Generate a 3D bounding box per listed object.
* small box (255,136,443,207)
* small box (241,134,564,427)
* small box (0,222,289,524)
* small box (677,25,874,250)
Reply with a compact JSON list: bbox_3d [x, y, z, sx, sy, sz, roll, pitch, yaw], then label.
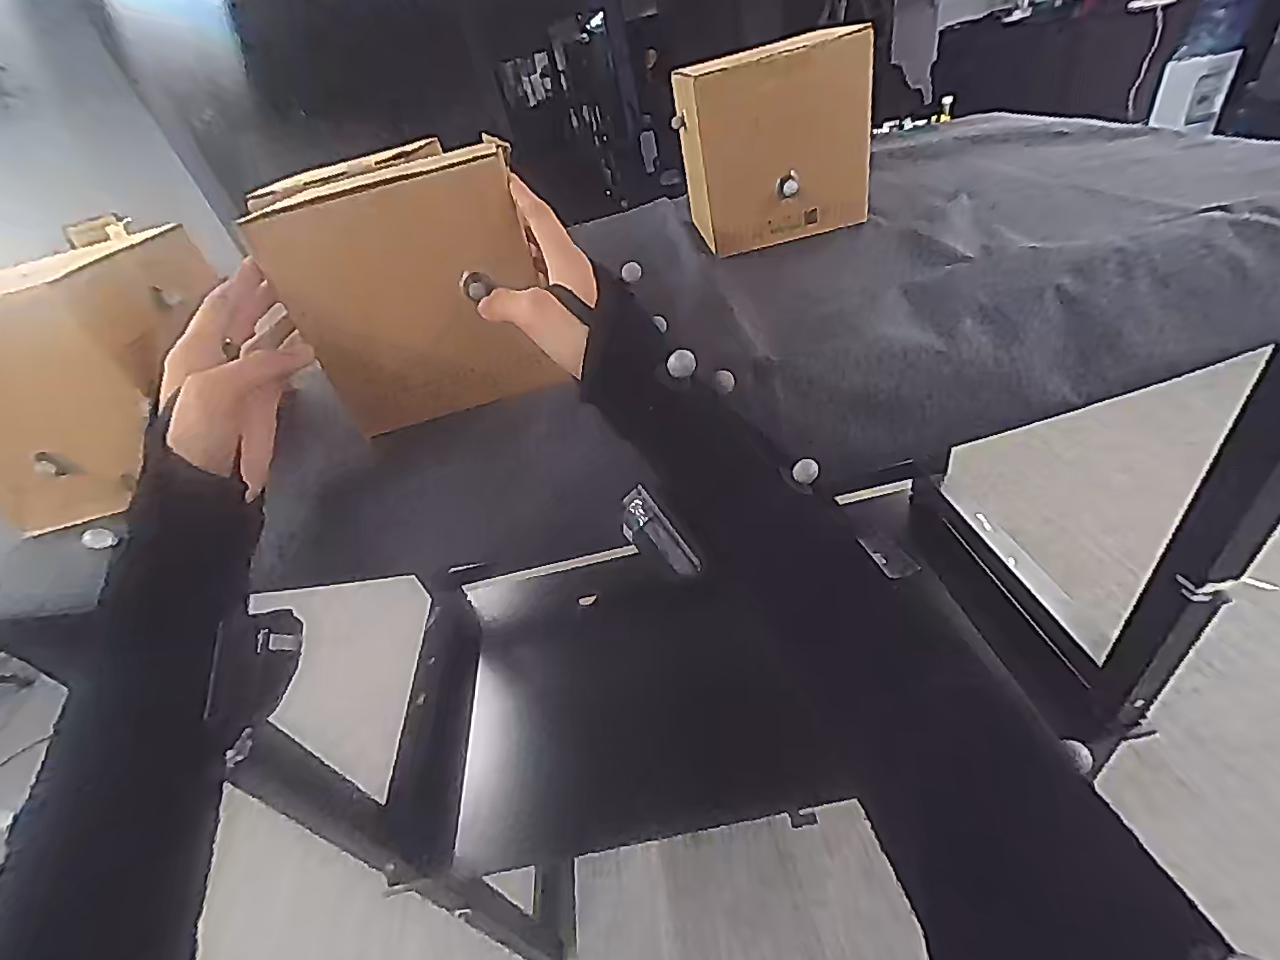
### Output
[{"bbox_3d":[-0.290,-0.280,0.637,0.168,0.176,0.179,-14,37,3],"label":"small box"},{"bbox_3d":[-0.168,-0.169,0.454,0.179,0.176,0.168,-16,36,-2],"label":"small box"},{"bbox_3d":[-0.439,-0.093,0.453,0.168,0.176,0.179,-16,38,-1],"label":"small box"},{"bbox_3d":[0.142,-0.375,0.603,0.168,0.176,0.179,-13,38,5],"label":"small box"}]
